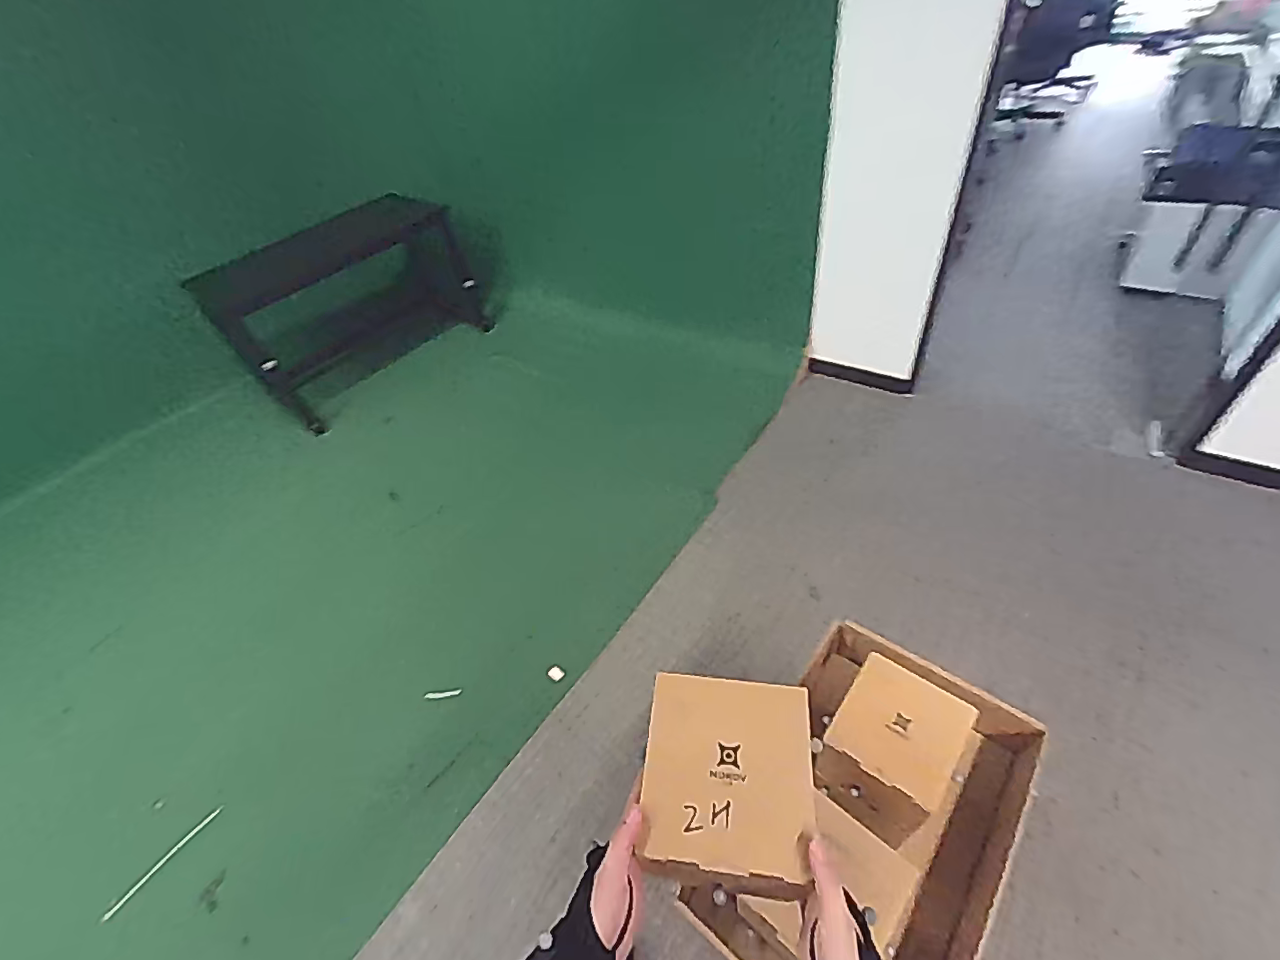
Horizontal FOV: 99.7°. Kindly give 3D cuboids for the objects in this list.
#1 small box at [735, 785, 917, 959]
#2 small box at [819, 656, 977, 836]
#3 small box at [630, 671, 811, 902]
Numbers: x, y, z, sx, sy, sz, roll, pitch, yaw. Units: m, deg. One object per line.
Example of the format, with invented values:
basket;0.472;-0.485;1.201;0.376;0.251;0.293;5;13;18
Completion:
small box;0.250;0.576;0.750;0.168;0.176;0.179;31;58;32
small box;0.403;0.427;0.871;0.168;0.176;0.179;27;59;31
small box;0.088;0.337;0.597;0.168;0.176;0.179;3;48;9
